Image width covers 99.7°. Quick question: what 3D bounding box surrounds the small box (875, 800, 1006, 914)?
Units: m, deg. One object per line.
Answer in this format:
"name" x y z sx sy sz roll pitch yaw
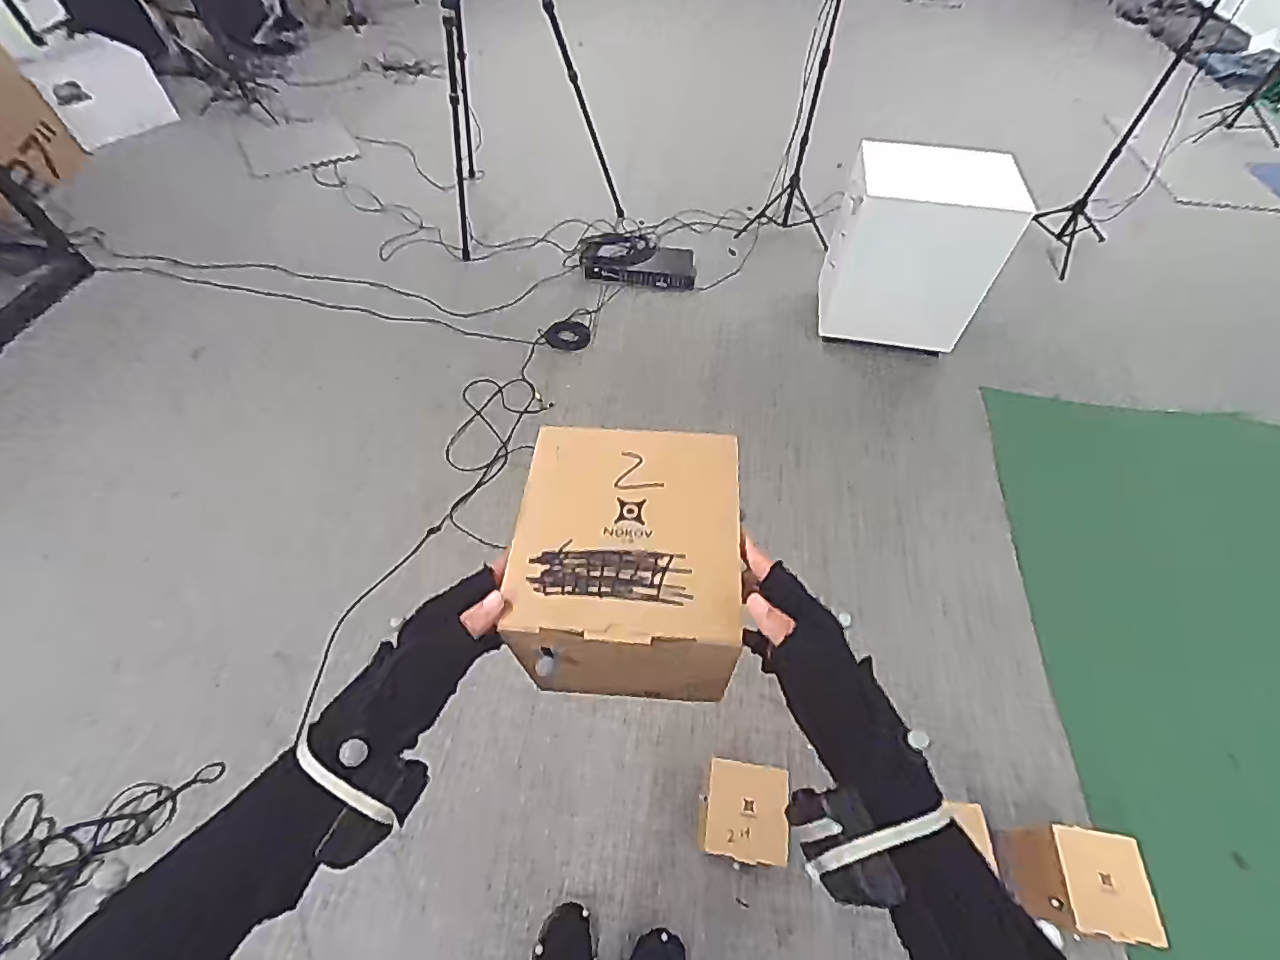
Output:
"small box" 0.617 0.789 1.134 0.168 0.176 0.179 5 53 1

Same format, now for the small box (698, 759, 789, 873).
"small box" 0.221 0.726 1.167 0.168 0.176 0.179 8 54 6

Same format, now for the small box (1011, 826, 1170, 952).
"small box" 0.905 0.834 1.111 0.168 0.176 0.179 7 54 5
